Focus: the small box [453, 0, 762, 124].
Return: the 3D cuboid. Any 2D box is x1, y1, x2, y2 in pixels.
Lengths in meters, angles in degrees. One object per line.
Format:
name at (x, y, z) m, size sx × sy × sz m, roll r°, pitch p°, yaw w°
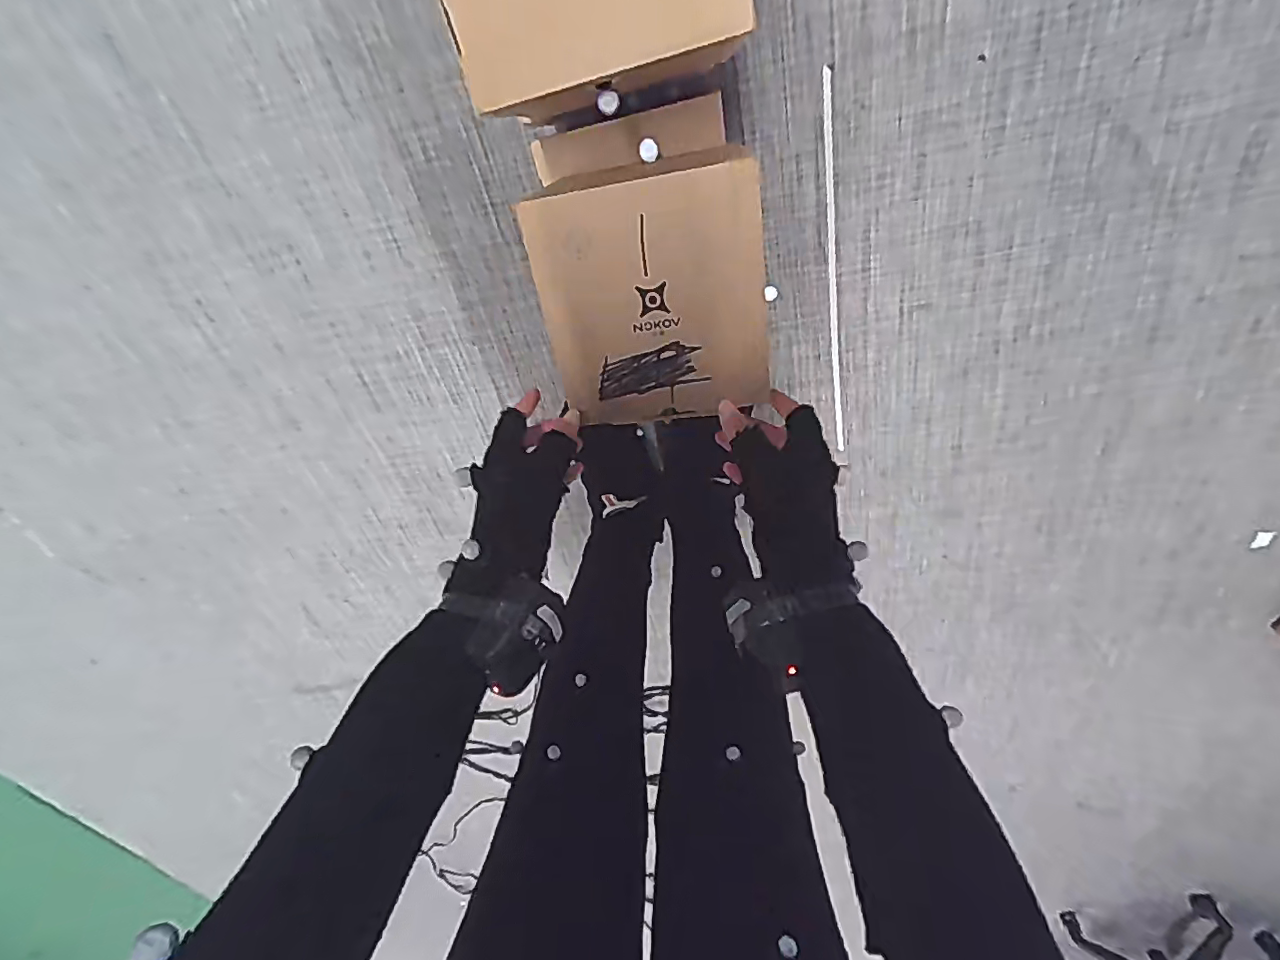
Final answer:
small box at (-0.025, -0.354, 0.356) m, size 0.179 × 0.176 × 0.168 m, roll -9°, pitch 123°, yaw 11°
